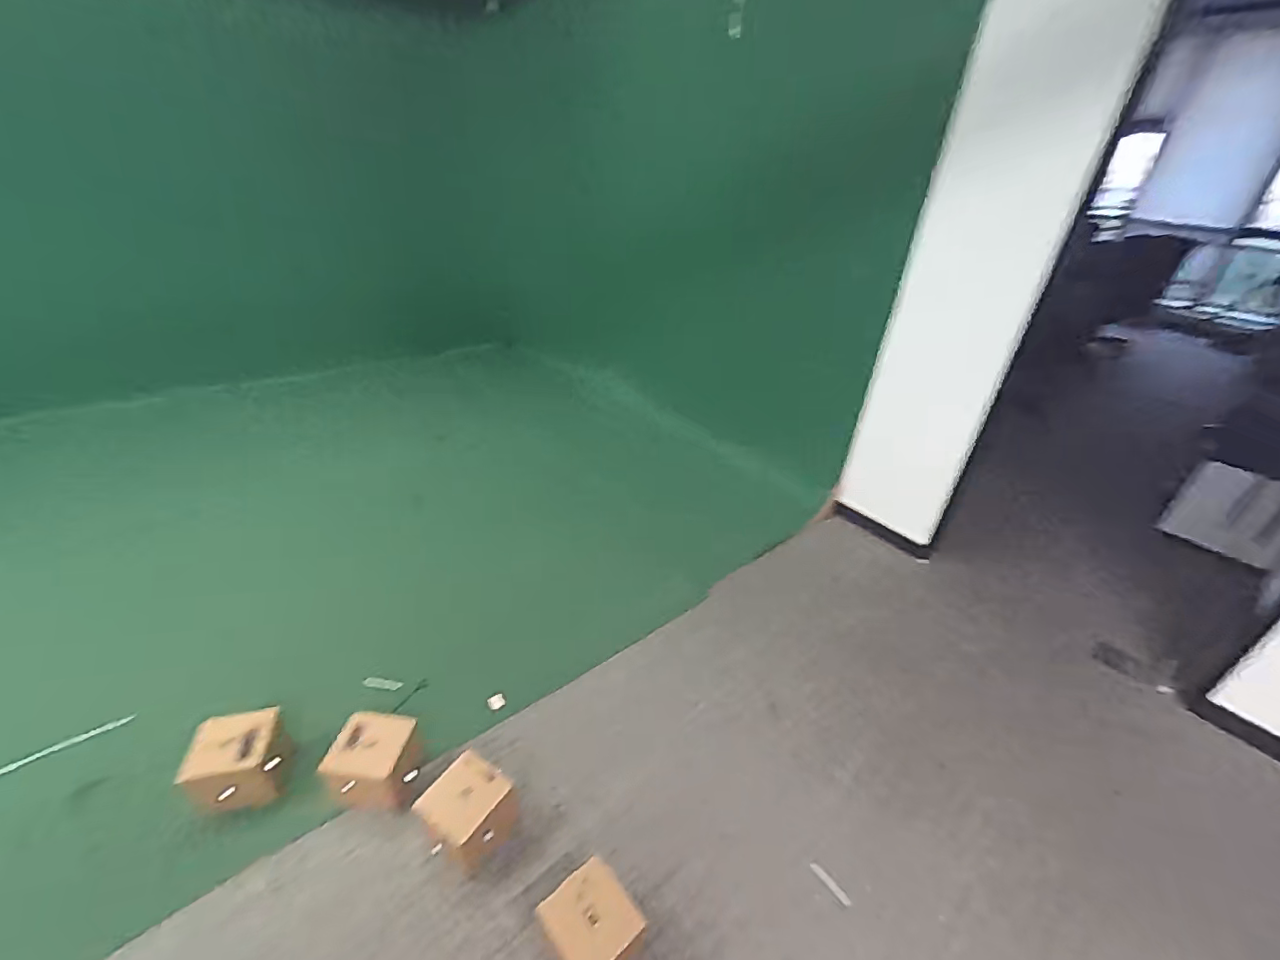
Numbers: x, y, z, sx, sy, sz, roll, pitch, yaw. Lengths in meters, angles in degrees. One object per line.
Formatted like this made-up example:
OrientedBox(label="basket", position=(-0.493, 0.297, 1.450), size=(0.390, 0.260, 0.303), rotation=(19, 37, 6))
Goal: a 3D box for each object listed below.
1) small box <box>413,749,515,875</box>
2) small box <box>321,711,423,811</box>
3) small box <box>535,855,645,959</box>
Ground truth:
OrientedBox(label="small box", position=(-0.430, 0.831, 1.352), size=(0.168, 0.176, 0.179), rotation=(22, 37, 25))
OrientedBox(label="small box", position=(-0.704, 0.752, 1.444), size=(0.179, 0.176, 0.168), rotation=(7, 32, 3))
OrientedBox(label="small box", position=(-0.109, 0.973, 1.164), size=(0.168, 0.176, 0.179), rotation=(-22, 41, -36))
